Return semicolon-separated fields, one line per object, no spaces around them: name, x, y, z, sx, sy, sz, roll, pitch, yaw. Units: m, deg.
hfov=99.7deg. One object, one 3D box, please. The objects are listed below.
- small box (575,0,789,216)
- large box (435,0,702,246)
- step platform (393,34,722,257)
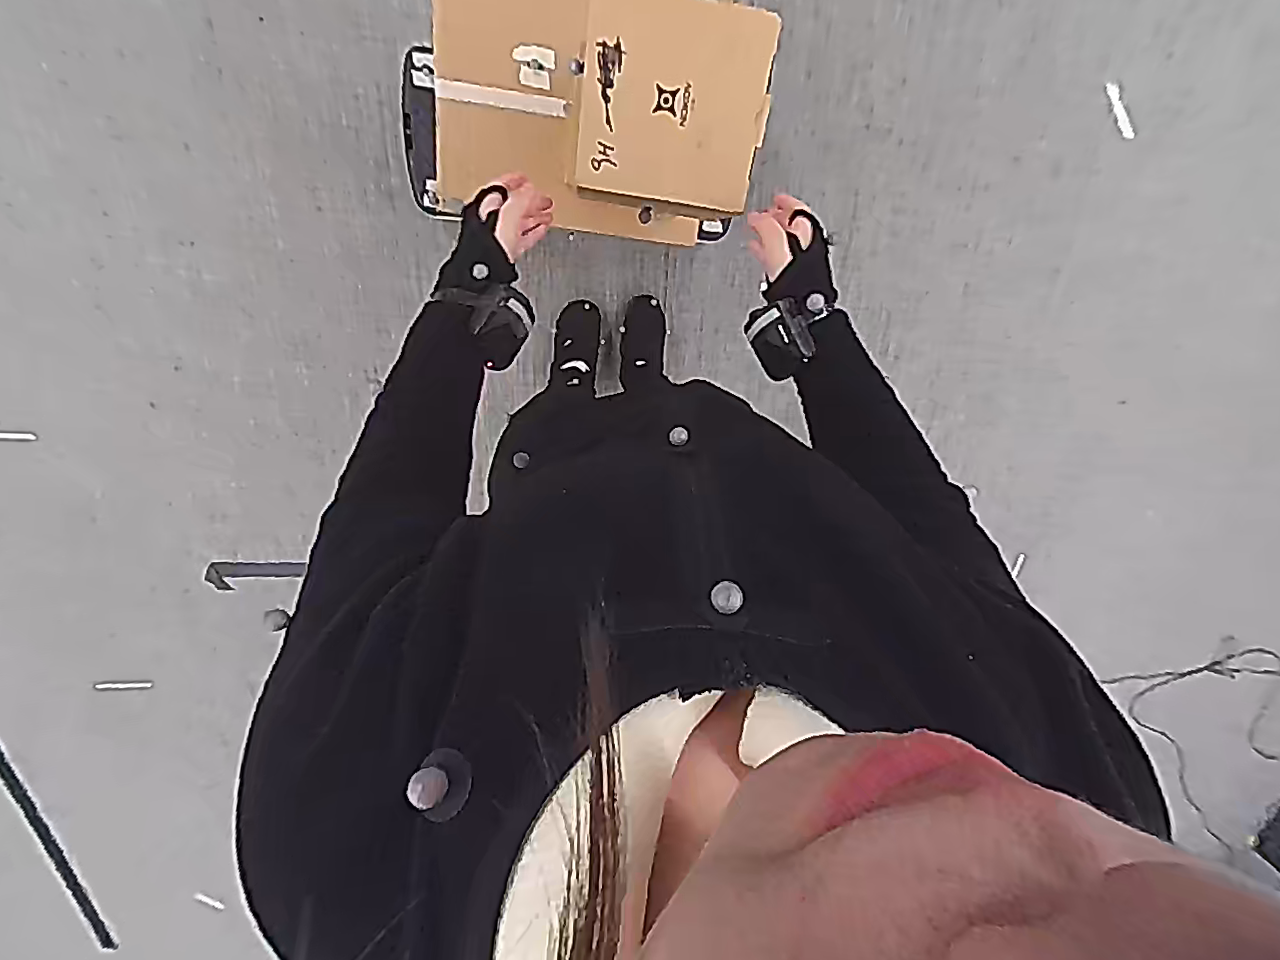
small box;0.027;-0.383;0.573;0.179;0.176;0.168;5;113;-10
large box;-0.099;-0.587;0.917;0.408;0.320;0.320;4;112;-7
step platform;-0.145;-0.673;1.135;0.684;0.204;0.286;7;113;-9
